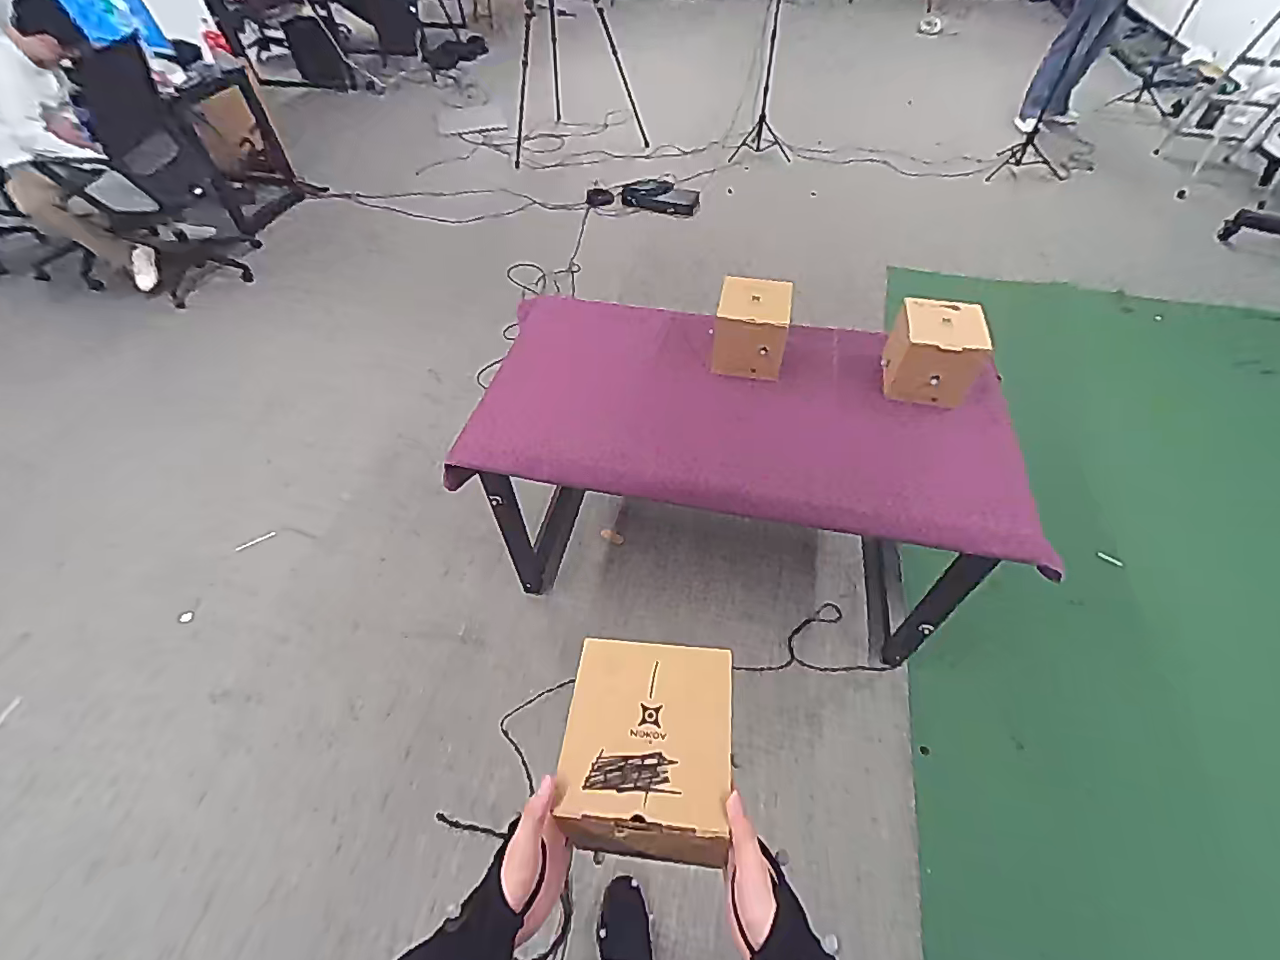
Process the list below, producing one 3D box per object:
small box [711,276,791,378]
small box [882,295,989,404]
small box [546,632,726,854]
[{"bbox_3d":[0.268,-0.371,1.324,0.168,0.176,0.179,9,52,8],"label":"small box"},{"bbox_3d":[0.671,-0.298,1.249,0.168,0.176,0.179,10,53,10],"label":"small box"},{"bbox_3d":[0.010,0.291,0.598,0.168,0.176,0.179,2,46,8],"label":"small box"}]
